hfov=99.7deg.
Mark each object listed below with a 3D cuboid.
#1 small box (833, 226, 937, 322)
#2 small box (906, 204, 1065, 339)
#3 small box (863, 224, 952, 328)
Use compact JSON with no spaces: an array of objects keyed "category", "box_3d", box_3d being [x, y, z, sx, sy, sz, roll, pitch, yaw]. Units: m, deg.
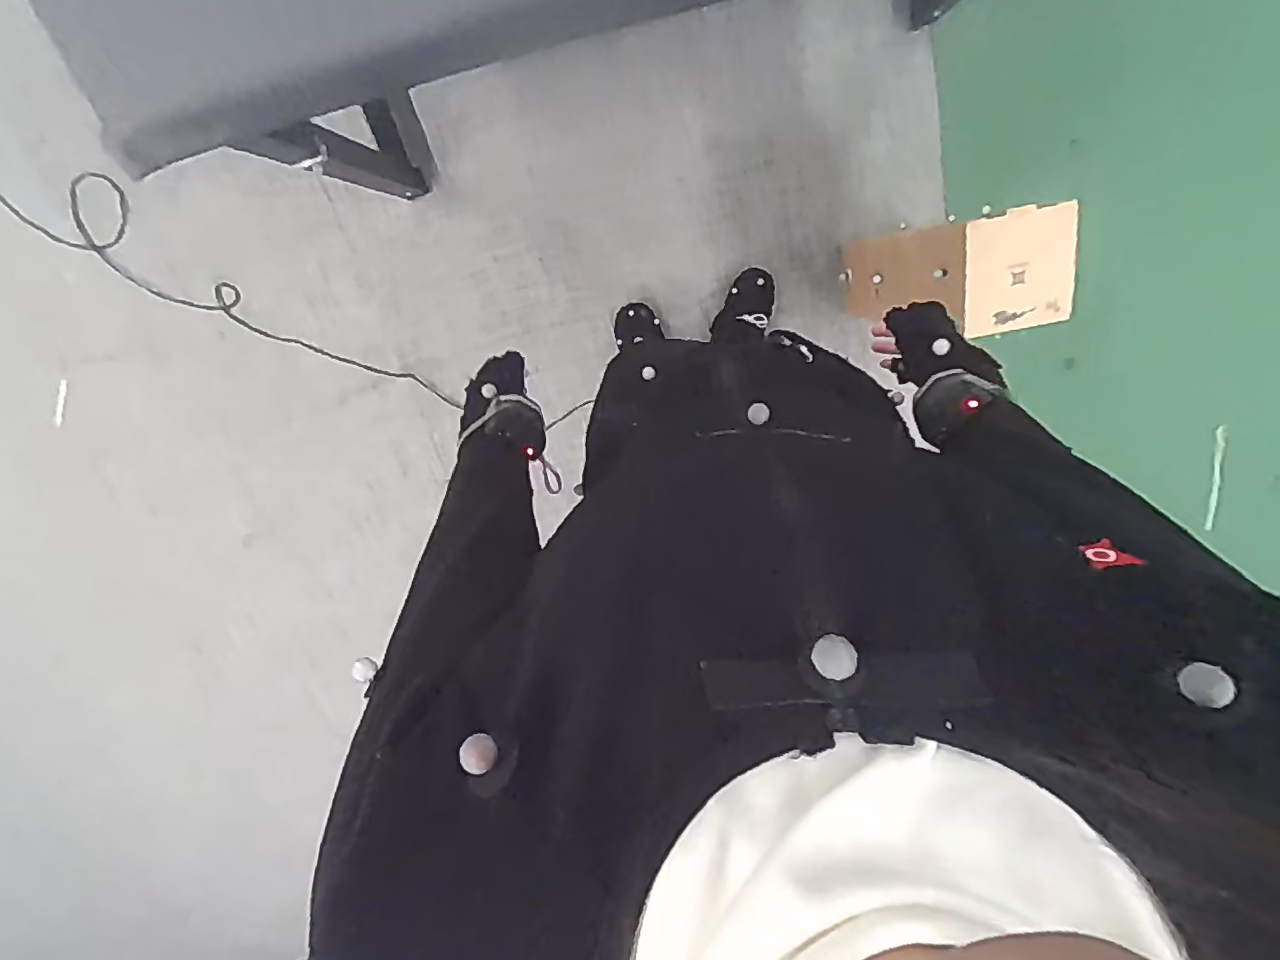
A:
[{"category":"small box","box_3d":[0.553,-0.462,1.213,0.179,0.176,0.168,-11,110,5]},{"category":"small box","box_3d":[0.565,-0.343,0.908,0.168,0.176,0.179,-9,109,3]},{"category":"small box","box_3d":[0.558,-0.403,1.060,0.179,0.176,0.168,-10,110,4]}]
